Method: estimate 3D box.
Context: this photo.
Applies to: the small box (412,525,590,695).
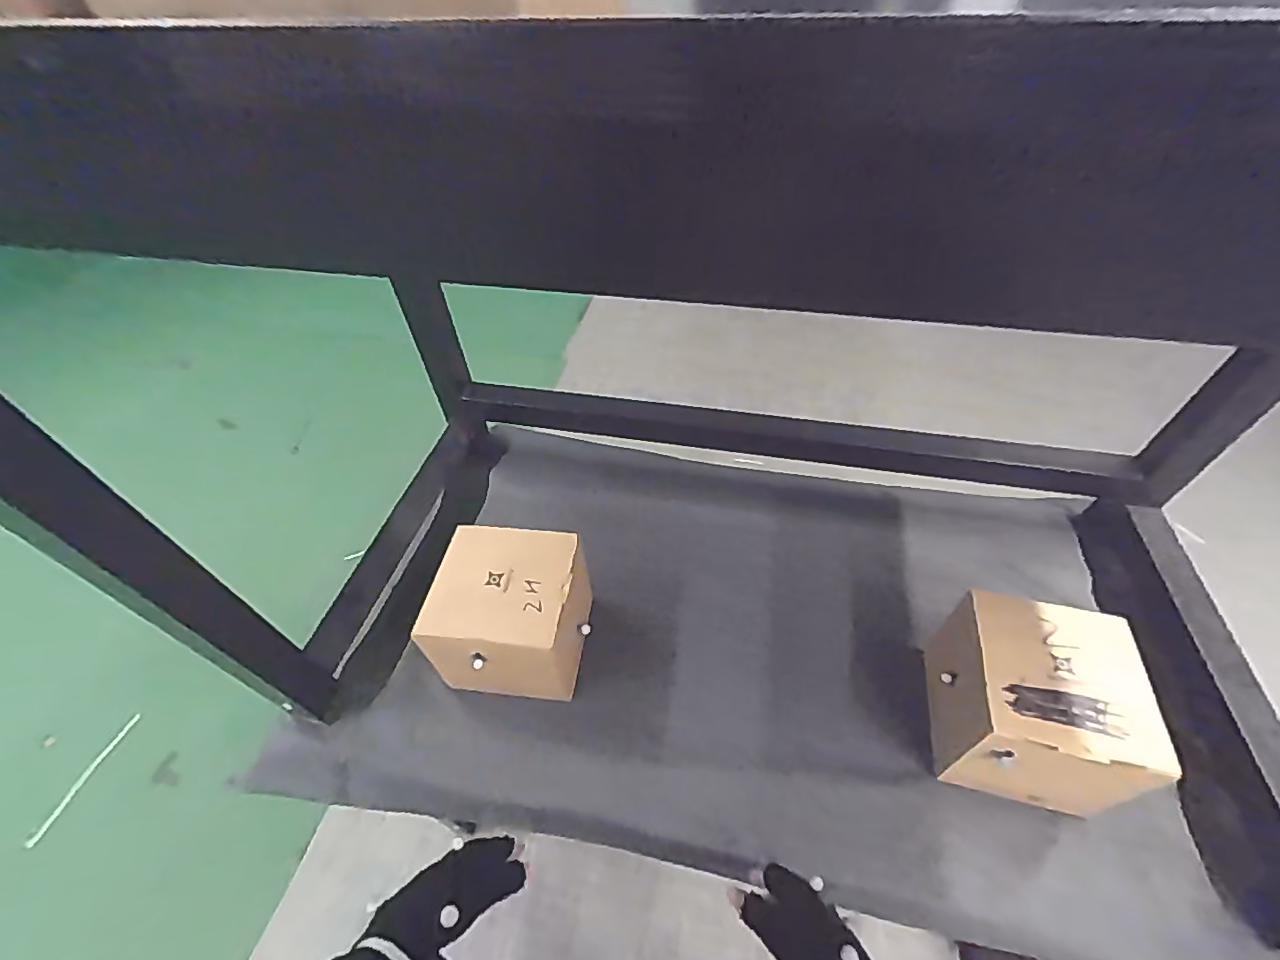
[{"bbox_3d":[-0.175,0.182,0.747,0.179,0.176,0.168,5,49,6],"label":"small box"}]
